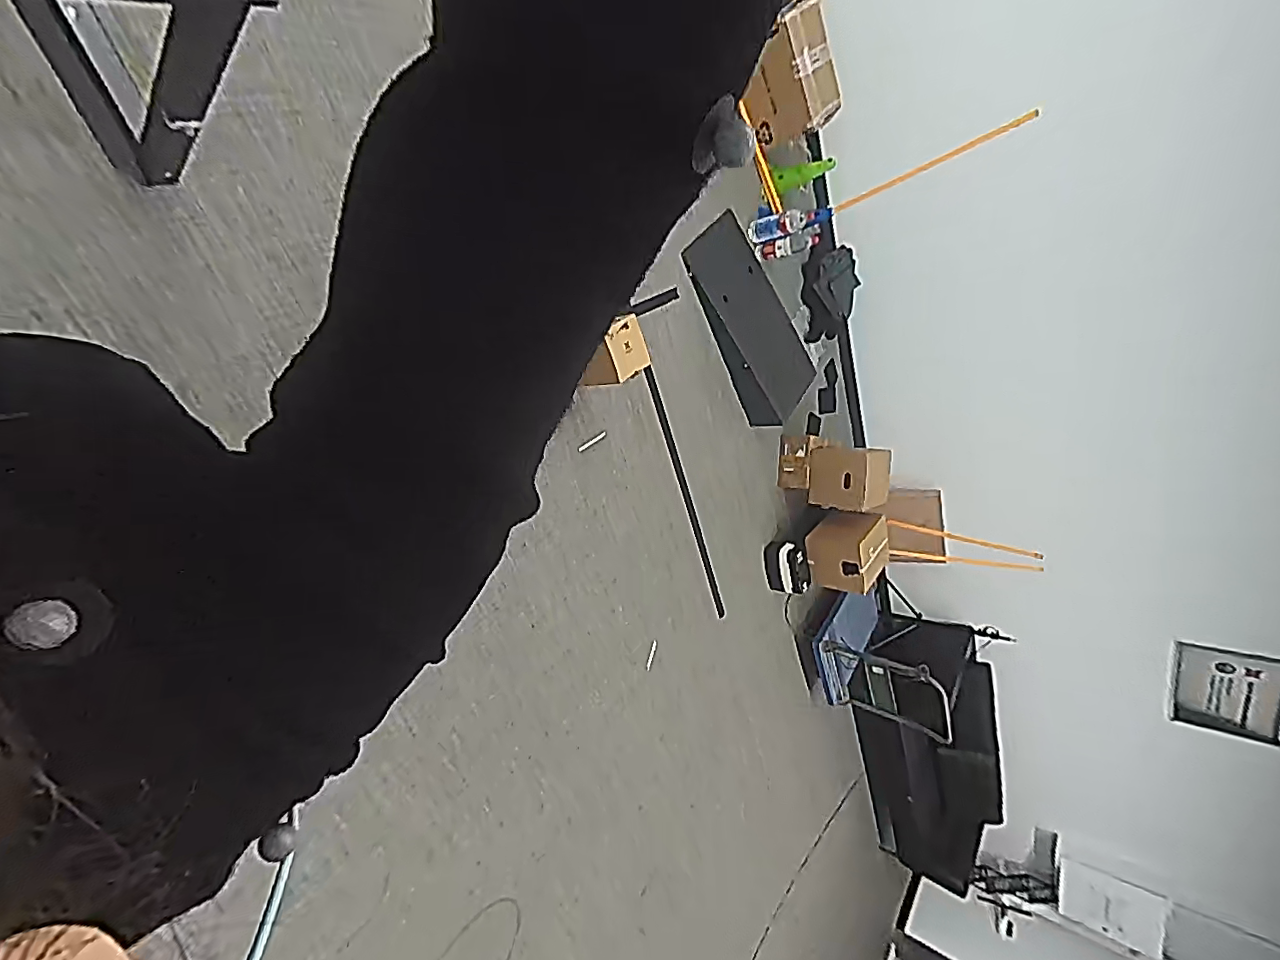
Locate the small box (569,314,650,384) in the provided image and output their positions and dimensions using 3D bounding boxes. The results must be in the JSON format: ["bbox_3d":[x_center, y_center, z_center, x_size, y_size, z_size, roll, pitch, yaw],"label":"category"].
[{"bbox_3d":[-0.100,-0.426,1.771,0.168,0.176,0.179,-42,123,-38],"label":"small box"}]
